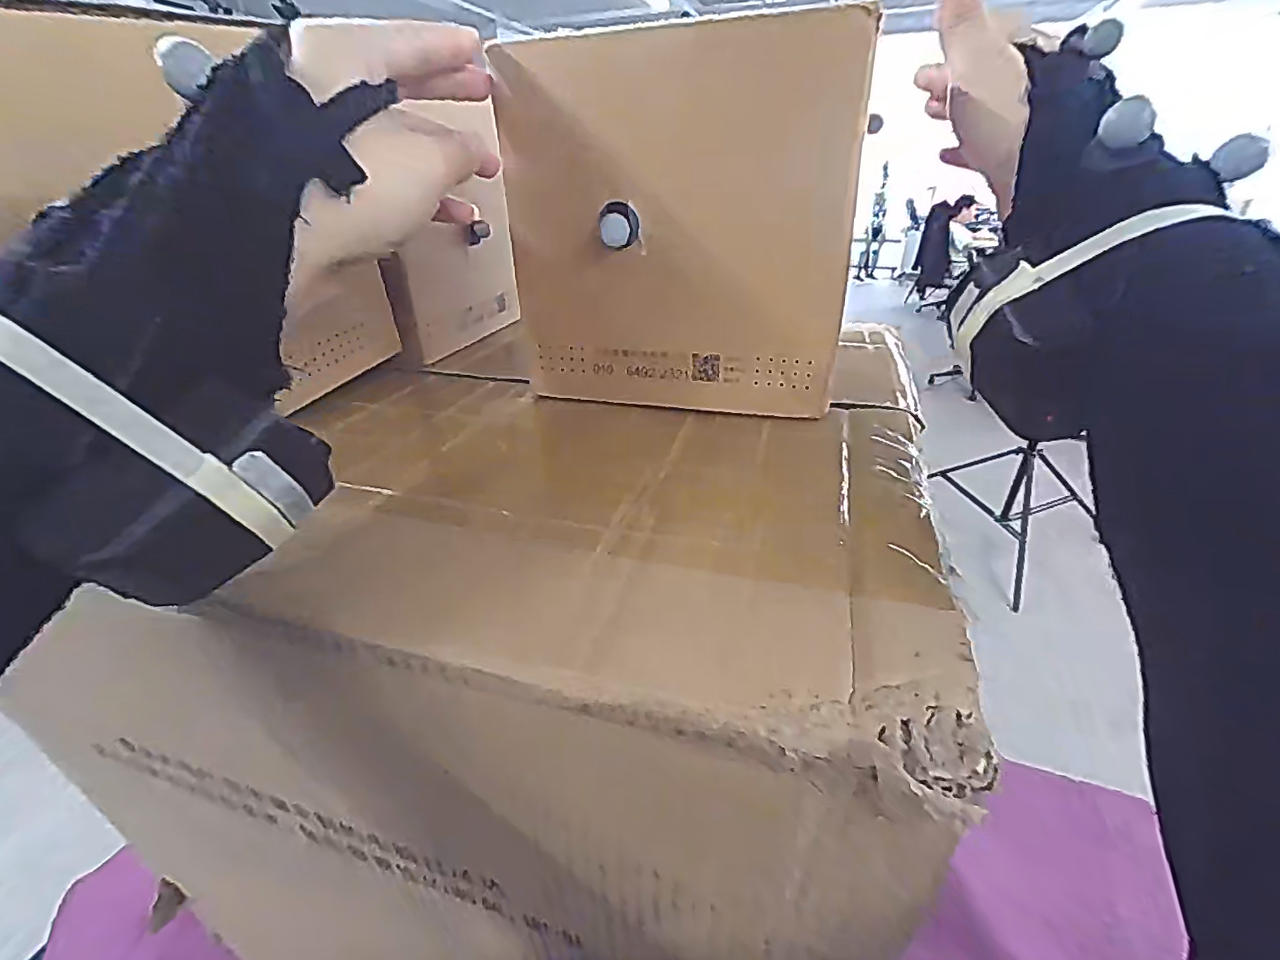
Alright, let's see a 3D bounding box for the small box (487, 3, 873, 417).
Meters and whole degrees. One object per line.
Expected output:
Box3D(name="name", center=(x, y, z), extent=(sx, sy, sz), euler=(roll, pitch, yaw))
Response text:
Box3D(name="small box", center=(0.038, -0.146, 0.325), extent=(0.168, 0.176, 0.179), euler=(6, 30, 16))
